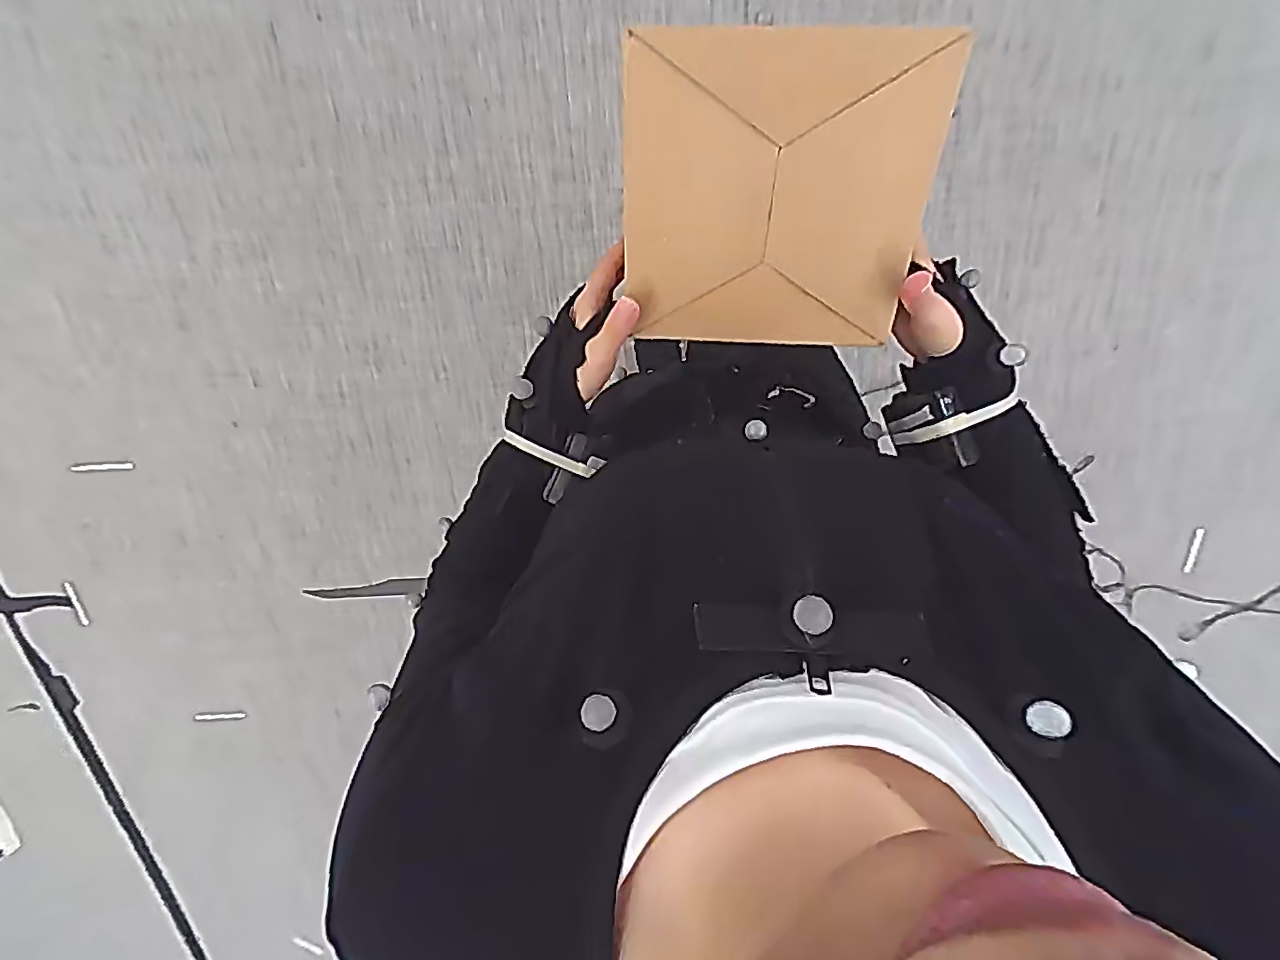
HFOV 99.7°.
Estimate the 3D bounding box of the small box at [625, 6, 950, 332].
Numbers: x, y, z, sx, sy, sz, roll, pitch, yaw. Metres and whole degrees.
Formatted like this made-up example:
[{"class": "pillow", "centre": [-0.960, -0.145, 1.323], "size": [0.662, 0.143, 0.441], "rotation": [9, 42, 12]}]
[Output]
[{"class": "small box", "centre": [0.086, -0.211, 0.377], "size": [0.179, 0.176, 0.168], "rotation": [3, 126, 3]}]
